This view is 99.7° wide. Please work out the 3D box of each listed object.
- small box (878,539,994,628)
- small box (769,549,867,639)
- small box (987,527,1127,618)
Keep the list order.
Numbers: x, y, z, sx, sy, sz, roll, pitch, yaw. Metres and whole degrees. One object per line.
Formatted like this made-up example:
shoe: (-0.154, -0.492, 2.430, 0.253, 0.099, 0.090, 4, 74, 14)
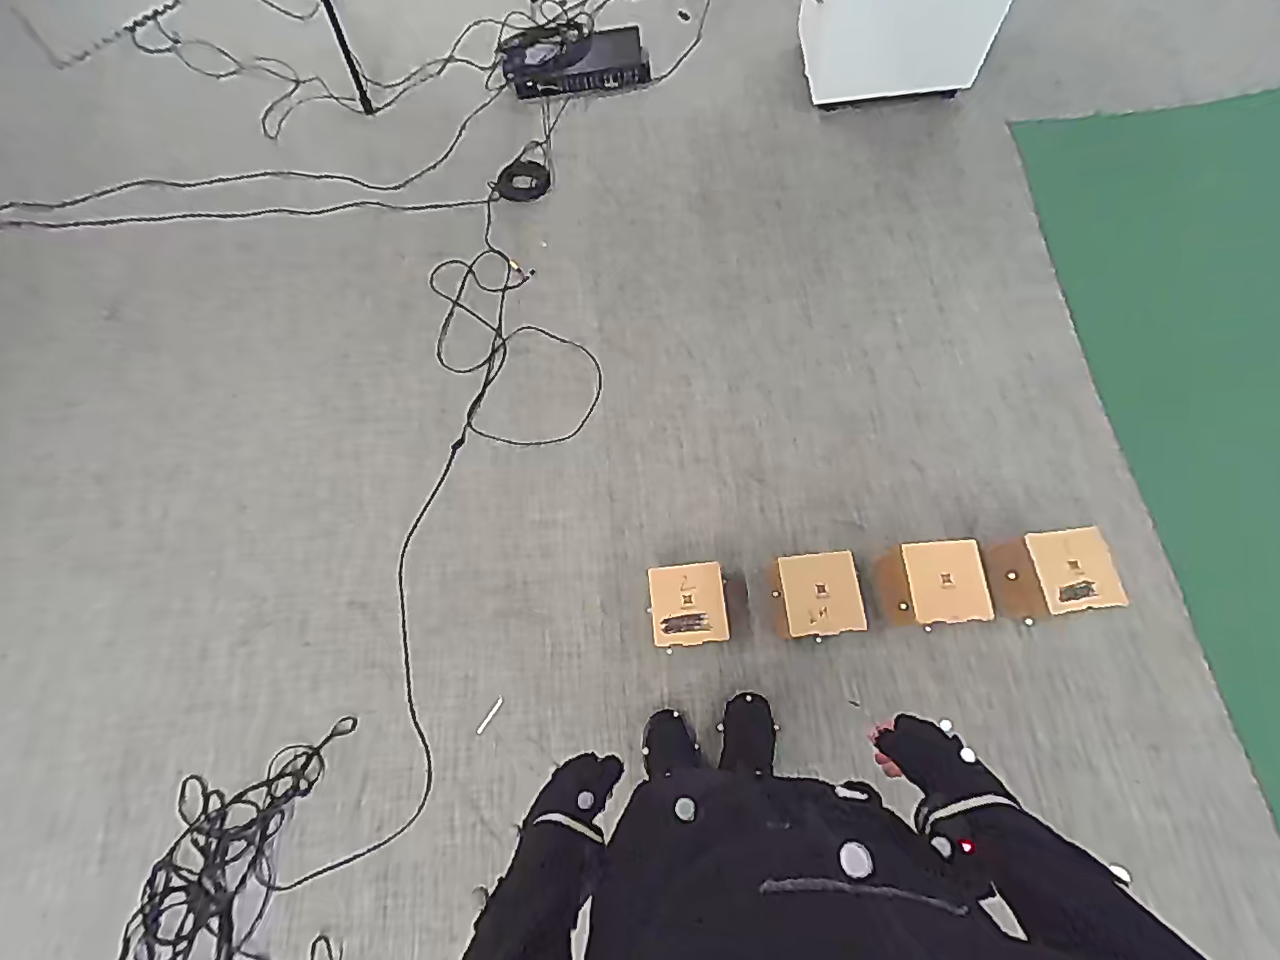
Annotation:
small box: (0.670, 0.244, 1.248, 0.168, 0.176, 0.179, -4, 72, 3)
small box: (0.404, 0.270, 1.258, 0.168, 0.176, 0.179, -7, 71, 4)
small box: (0.938, 0.218, 1.235, 0.168, 0.176, 0.179, -7, 71, 2)
